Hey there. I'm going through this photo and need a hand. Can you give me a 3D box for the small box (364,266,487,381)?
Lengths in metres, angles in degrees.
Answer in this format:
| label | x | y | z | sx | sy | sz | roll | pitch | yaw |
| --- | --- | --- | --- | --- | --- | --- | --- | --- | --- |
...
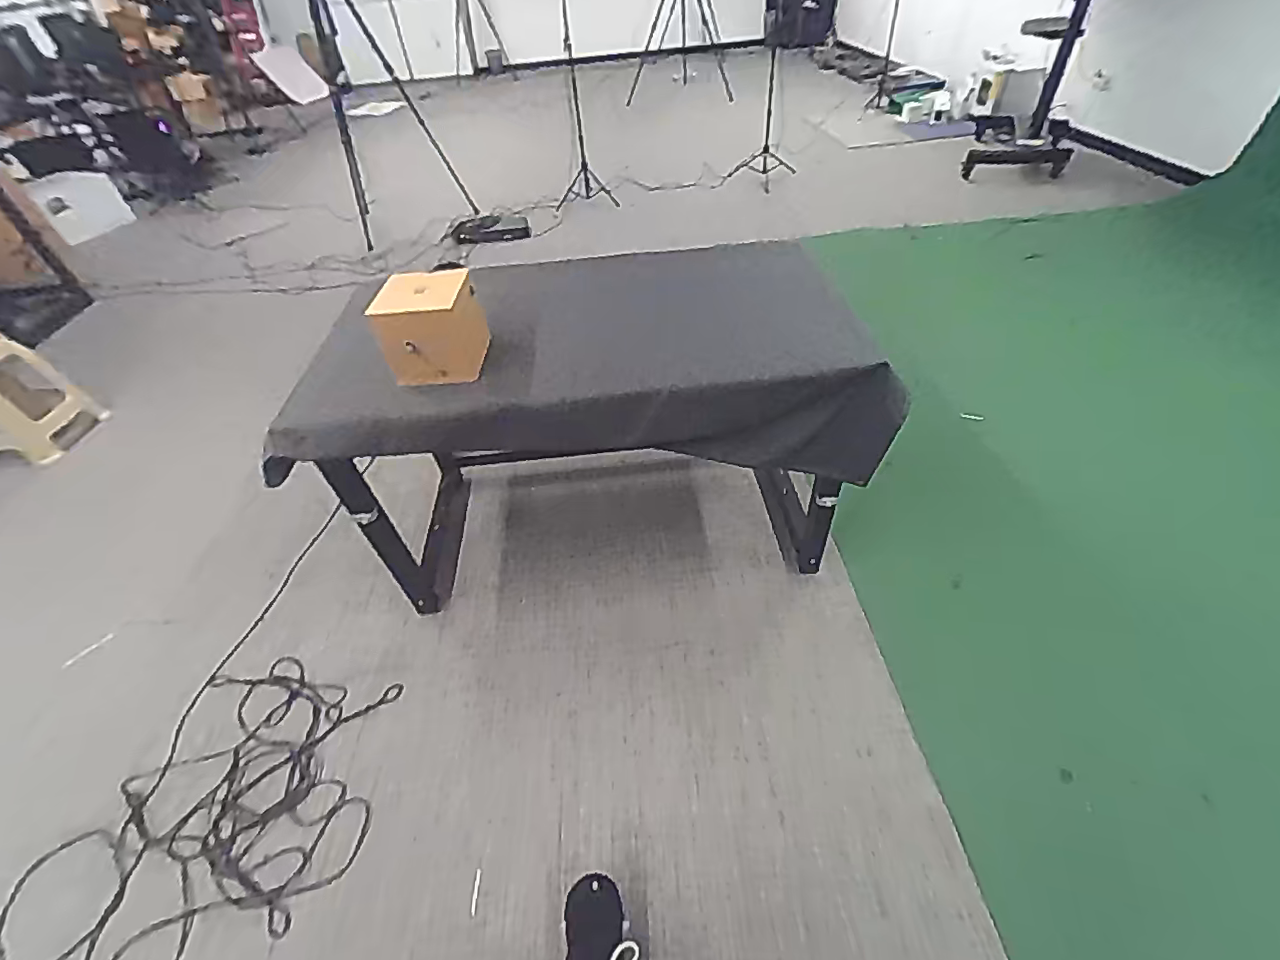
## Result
| label | x | y | z | sx | sy | sz | roll | pitch | yaw |
| --- | --- | --- | --- | --- | --- | --- | --- | --- | --- |
| small box | -0.425 | -0.314 | 1.106 | 0.168 | 0.176 | 0.179 | -4 | 44 | 1 |
